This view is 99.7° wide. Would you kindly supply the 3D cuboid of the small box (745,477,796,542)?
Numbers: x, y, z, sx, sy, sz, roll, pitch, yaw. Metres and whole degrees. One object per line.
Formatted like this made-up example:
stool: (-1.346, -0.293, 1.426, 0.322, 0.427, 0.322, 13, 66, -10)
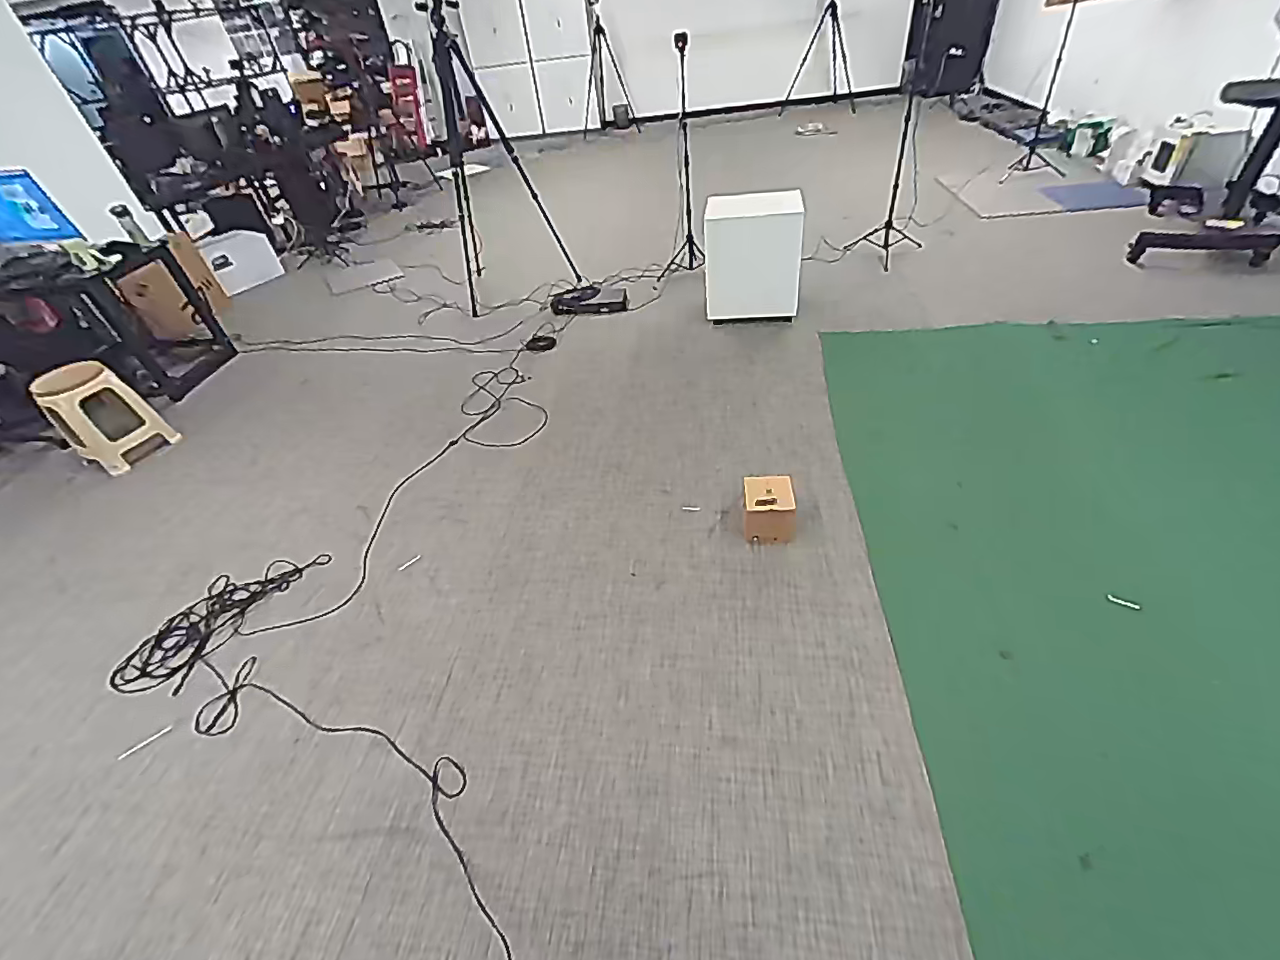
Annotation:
small box: (0.464, 0.108, 1.941, 0.168, 0.176, 0.179, -1, 42, 8)
